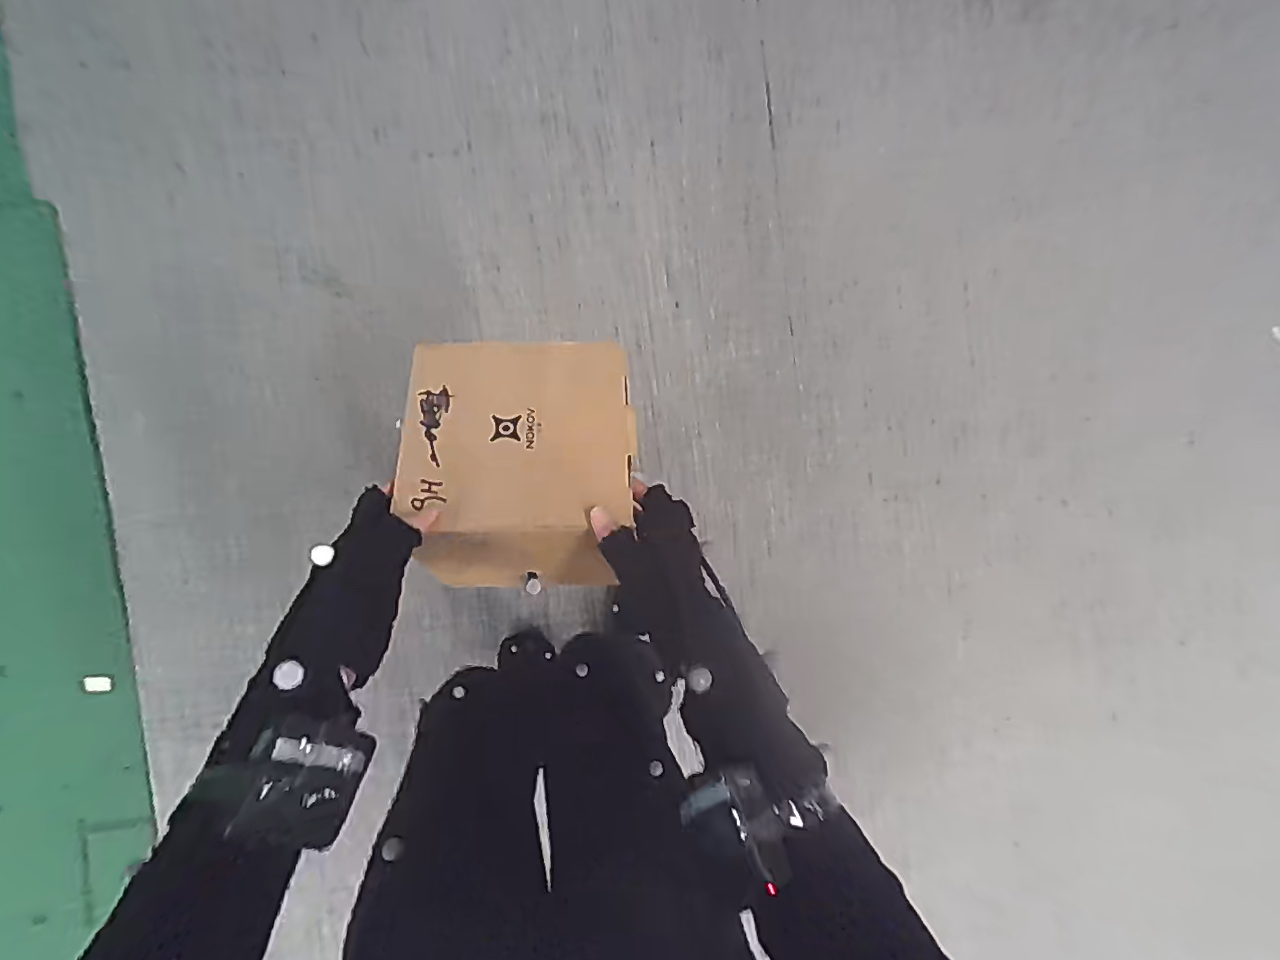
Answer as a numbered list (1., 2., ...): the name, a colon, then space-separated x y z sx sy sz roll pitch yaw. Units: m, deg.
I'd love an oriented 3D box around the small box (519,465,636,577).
1. small box: -0.107 0.065 0.970 0.179 0.176 0.168 -8 92 -2
